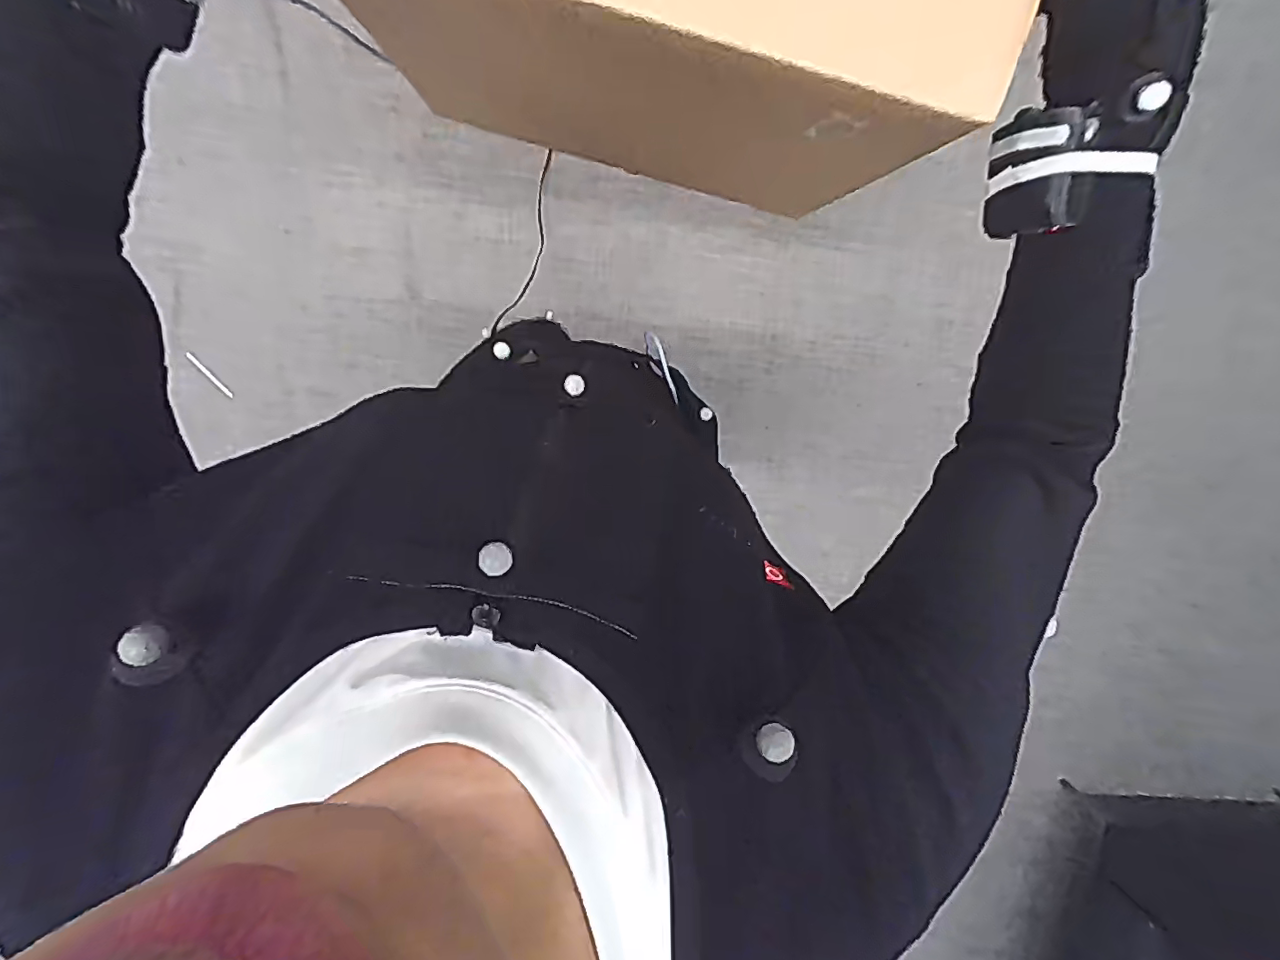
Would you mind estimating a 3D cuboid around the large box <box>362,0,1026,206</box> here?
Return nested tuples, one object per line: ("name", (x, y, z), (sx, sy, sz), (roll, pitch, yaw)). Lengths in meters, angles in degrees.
("large box", (0.034, -0.437, 0.396), (0.408, 0.320, 0.320), (11, 107, -7))
